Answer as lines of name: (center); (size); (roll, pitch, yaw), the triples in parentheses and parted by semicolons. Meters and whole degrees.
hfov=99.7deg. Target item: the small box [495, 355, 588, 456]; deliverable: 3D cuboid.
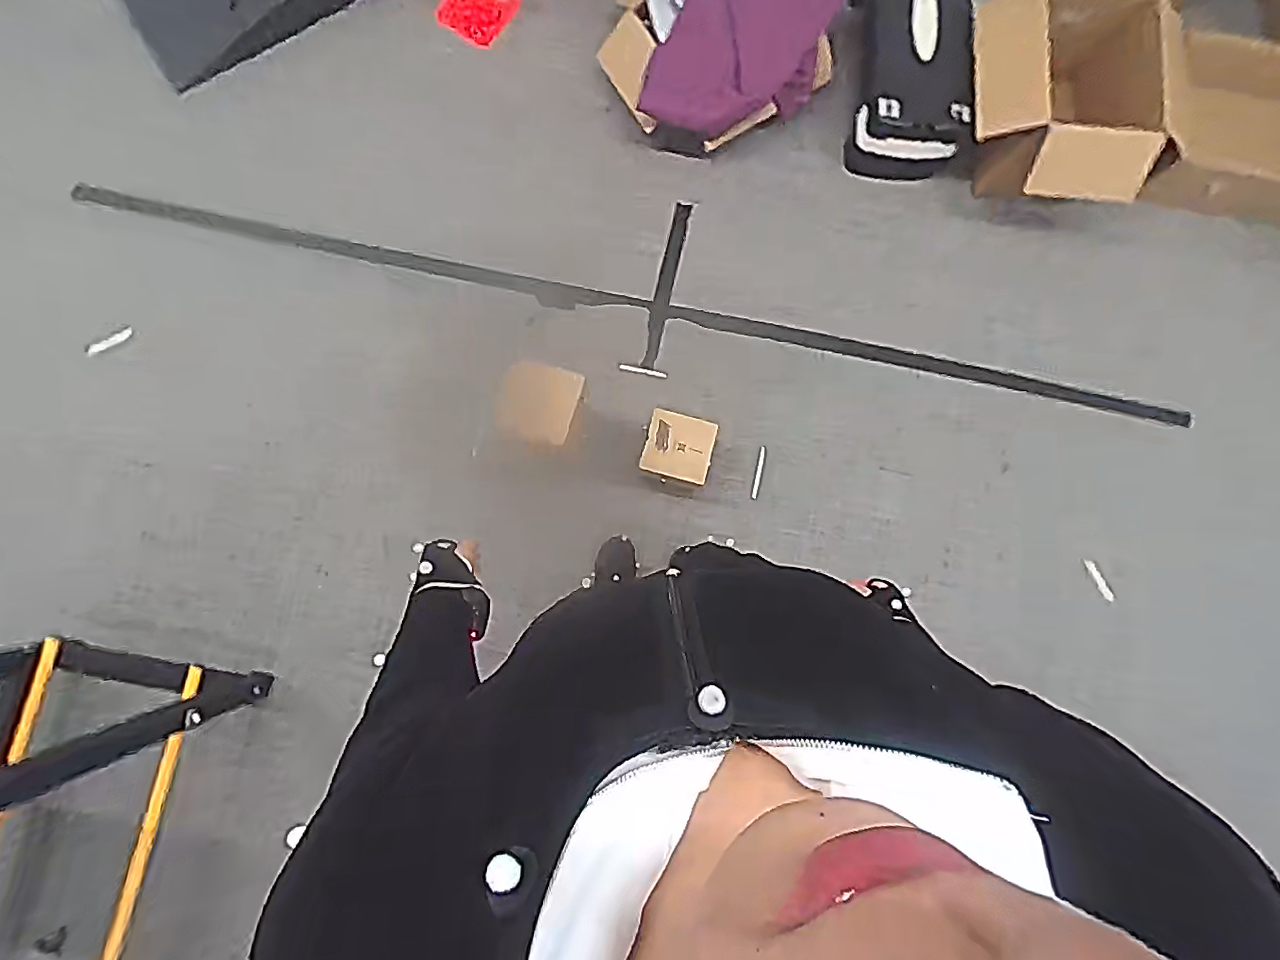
small box: (-0.227, -0.171, 1.297); (0.168, 0.176, 0.179); (17, 84, 1)

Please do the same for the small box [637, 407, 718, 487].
small box: (0.094, -0.081, 1.465); (0.179, 0.176, 0.168); (15, 84, -1)
